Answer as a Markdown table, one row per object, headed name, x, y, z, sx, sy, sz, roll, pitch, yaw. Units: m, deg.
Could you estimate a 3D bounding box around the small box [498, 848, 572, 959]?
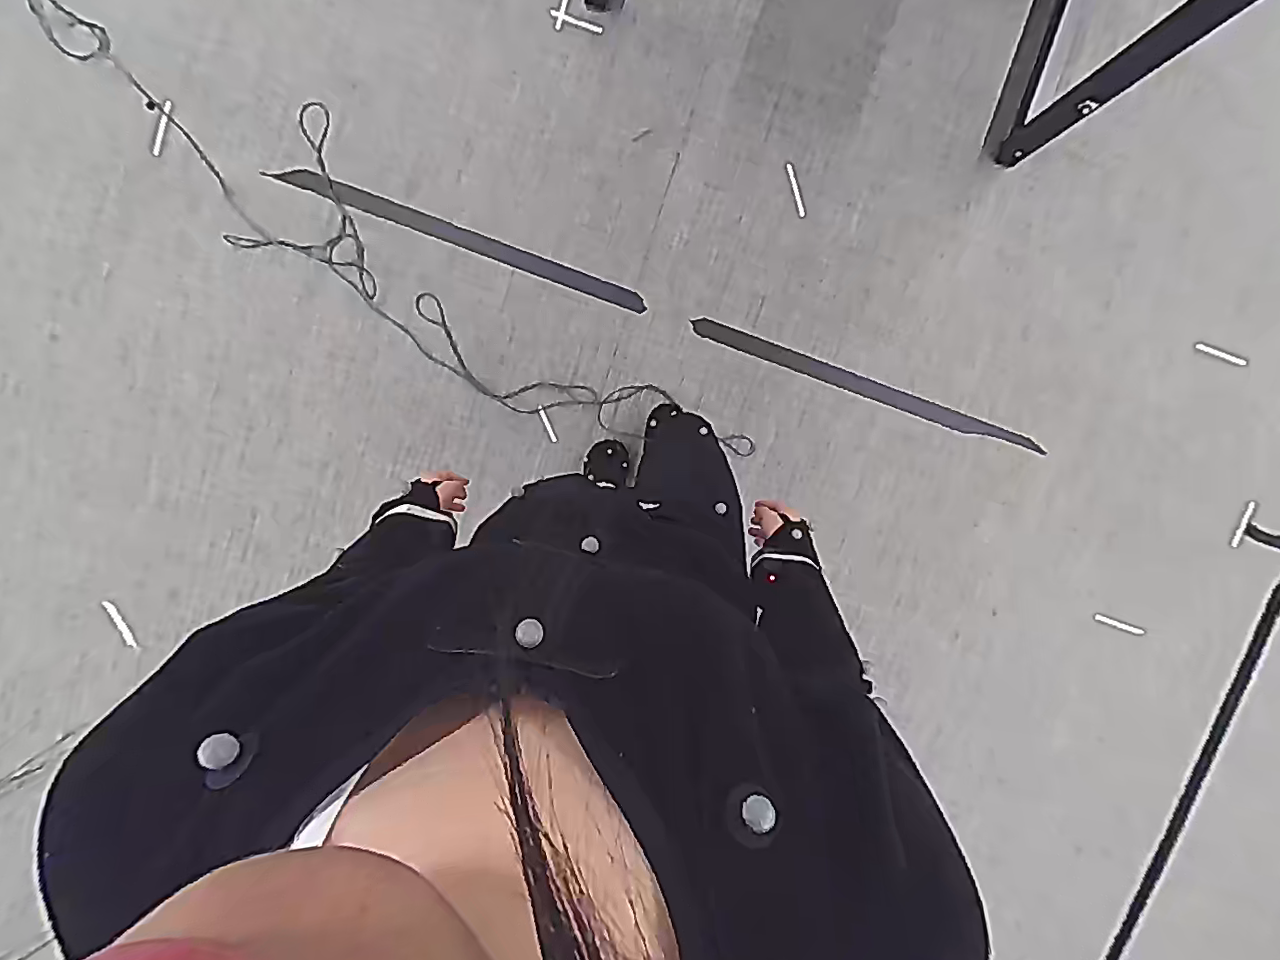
| name | x | y | z | sx | sy | sz | roll | pitch | yaw |
| --- | --- | --- | --- | --- | --- | --- | --- | --- | --- |
| small box | -0.287 | 1.180 | 1.511 | 0.168 | 0.176 | 0.179 | 9 | 95 | -4 |
